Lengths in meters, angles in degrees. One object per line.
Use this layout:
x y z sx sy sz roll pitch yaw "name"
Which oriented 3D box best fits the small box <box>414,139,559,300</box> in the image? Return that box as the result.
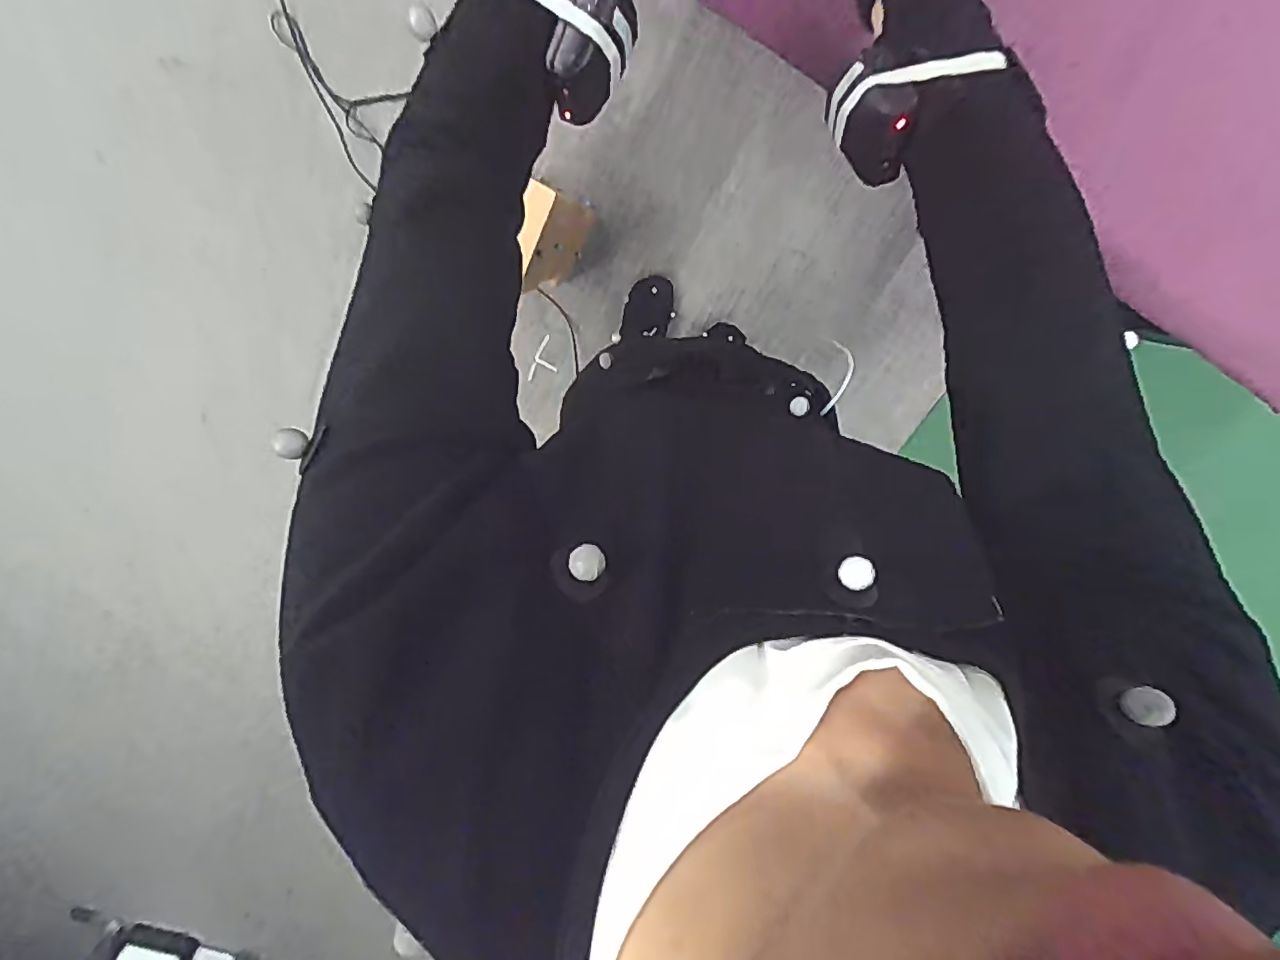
-0.248 -0.434 0.915 0.168 0.176 0.179 27 113 -10 "small box"
